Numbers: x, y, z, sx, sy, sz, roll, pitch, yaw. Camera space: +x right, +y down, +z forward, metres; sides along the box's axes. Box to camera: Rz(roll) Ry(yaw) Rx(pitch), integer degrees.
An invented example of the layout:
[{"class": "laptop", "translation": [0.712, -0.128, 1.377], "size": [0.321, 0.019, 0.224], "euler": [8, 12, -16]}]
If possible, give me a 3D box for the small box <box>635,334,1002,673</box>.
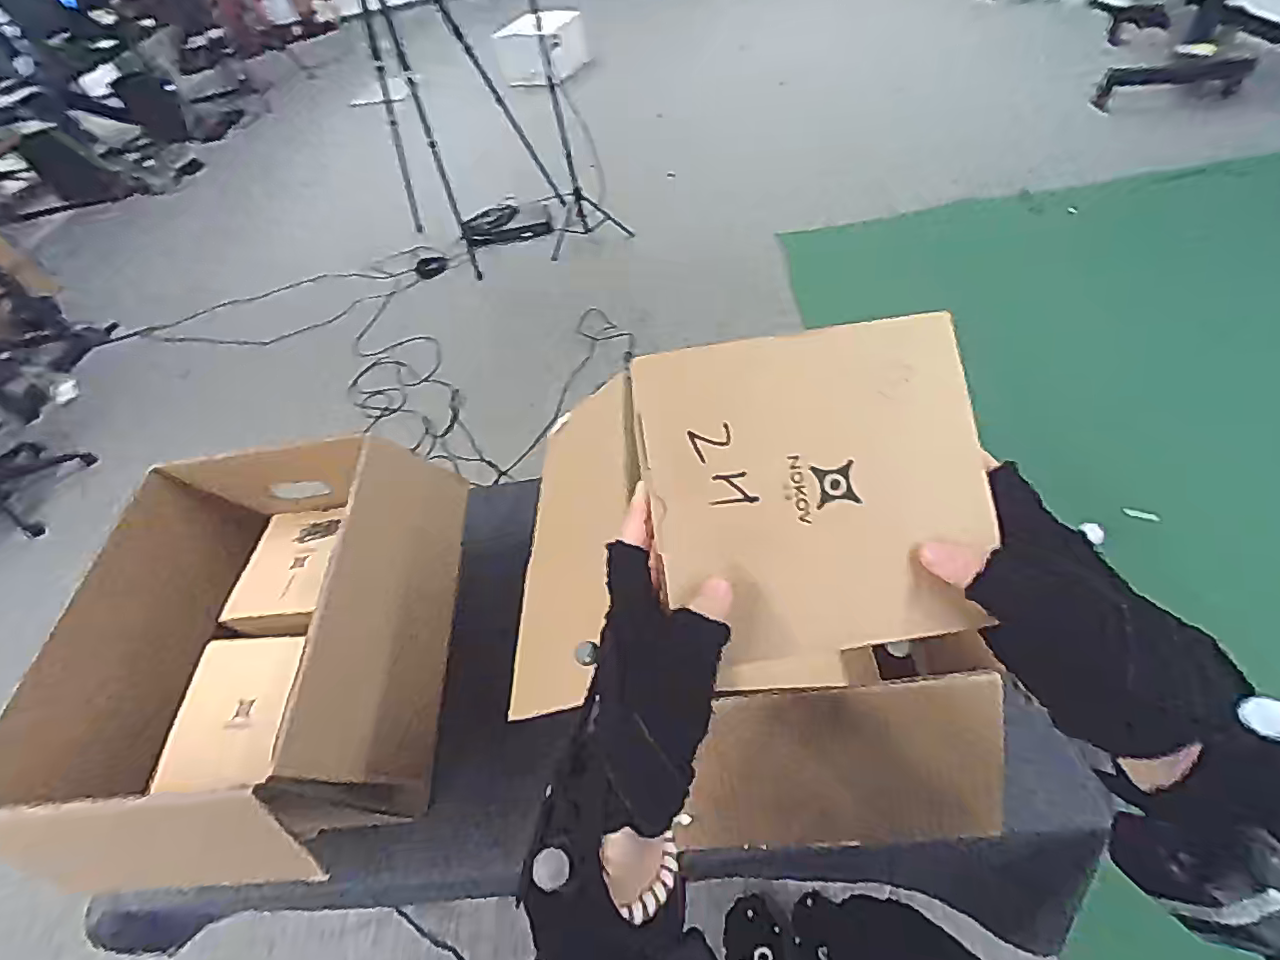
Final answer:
[{"class": "small box", "translation": [0.092, 0.019, 0.365], "size": [0.179, 0.176, 0.168], "euler": [-7, 82, -1]}]
